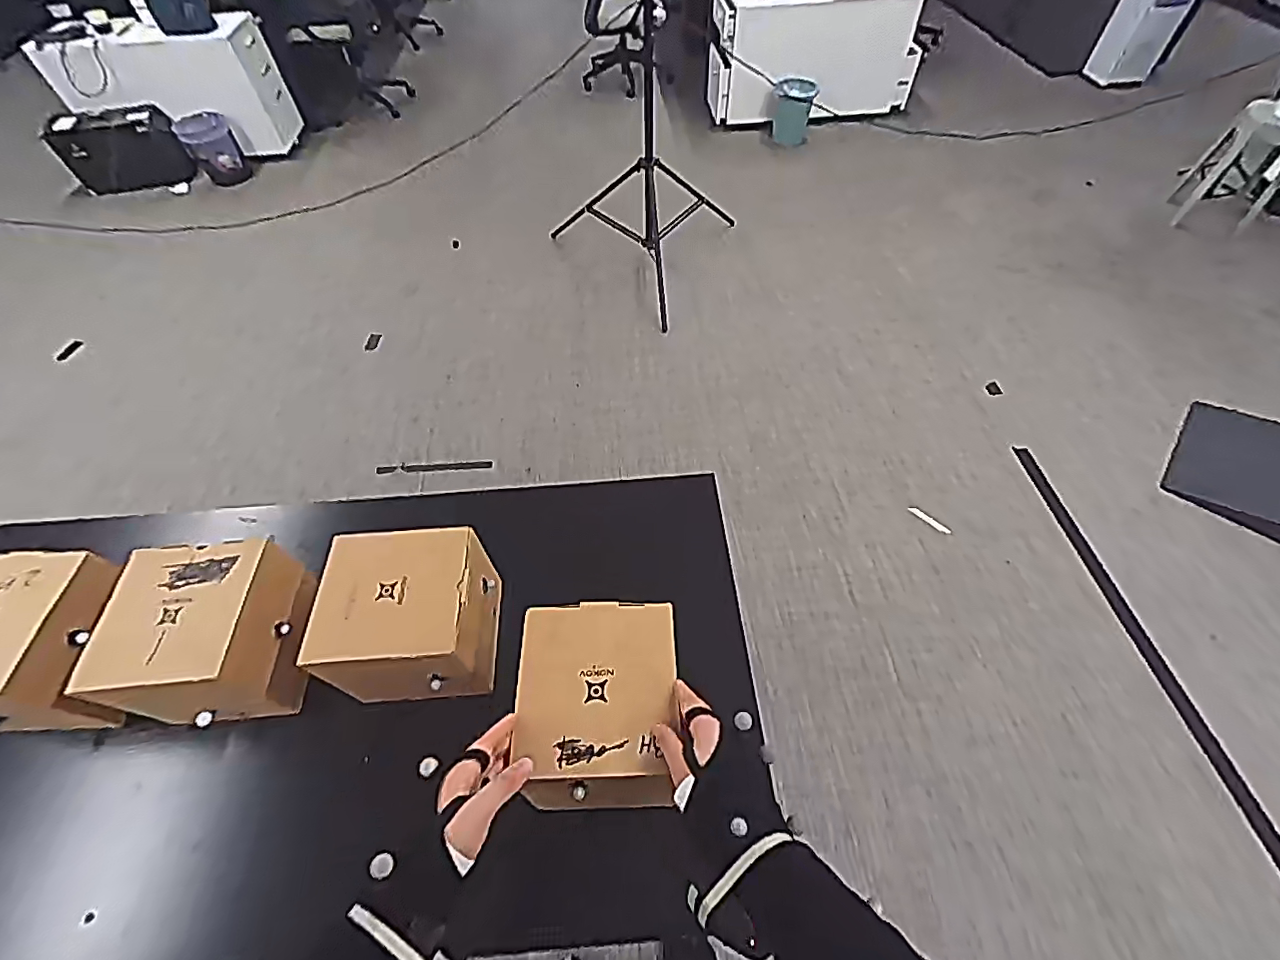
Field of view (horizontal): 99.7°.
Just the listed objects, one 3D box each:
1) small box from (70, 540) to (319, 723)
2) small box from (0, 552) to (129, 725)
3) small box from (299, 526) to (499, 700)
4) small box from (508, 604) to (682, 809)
[{"bbox_3d":[-0.540,0.198,0.697,0.168,0.176,0.179,-5,56,-3],"label":"small box"},{"bbox_3d":[-0.764,0.210,0.696,0.168,0.176,0.179,-2,54,0],"label":"small box"},{"bbox_3d":[-0.292,0.178,0.706,0.179,0.176,0.168,-5,53,-1],"label":"small box"},{"bbox_3d":[-0.043,0.260,0.617,0.168,0.176,0.179,-2,51,0],"label":"small box"}]
